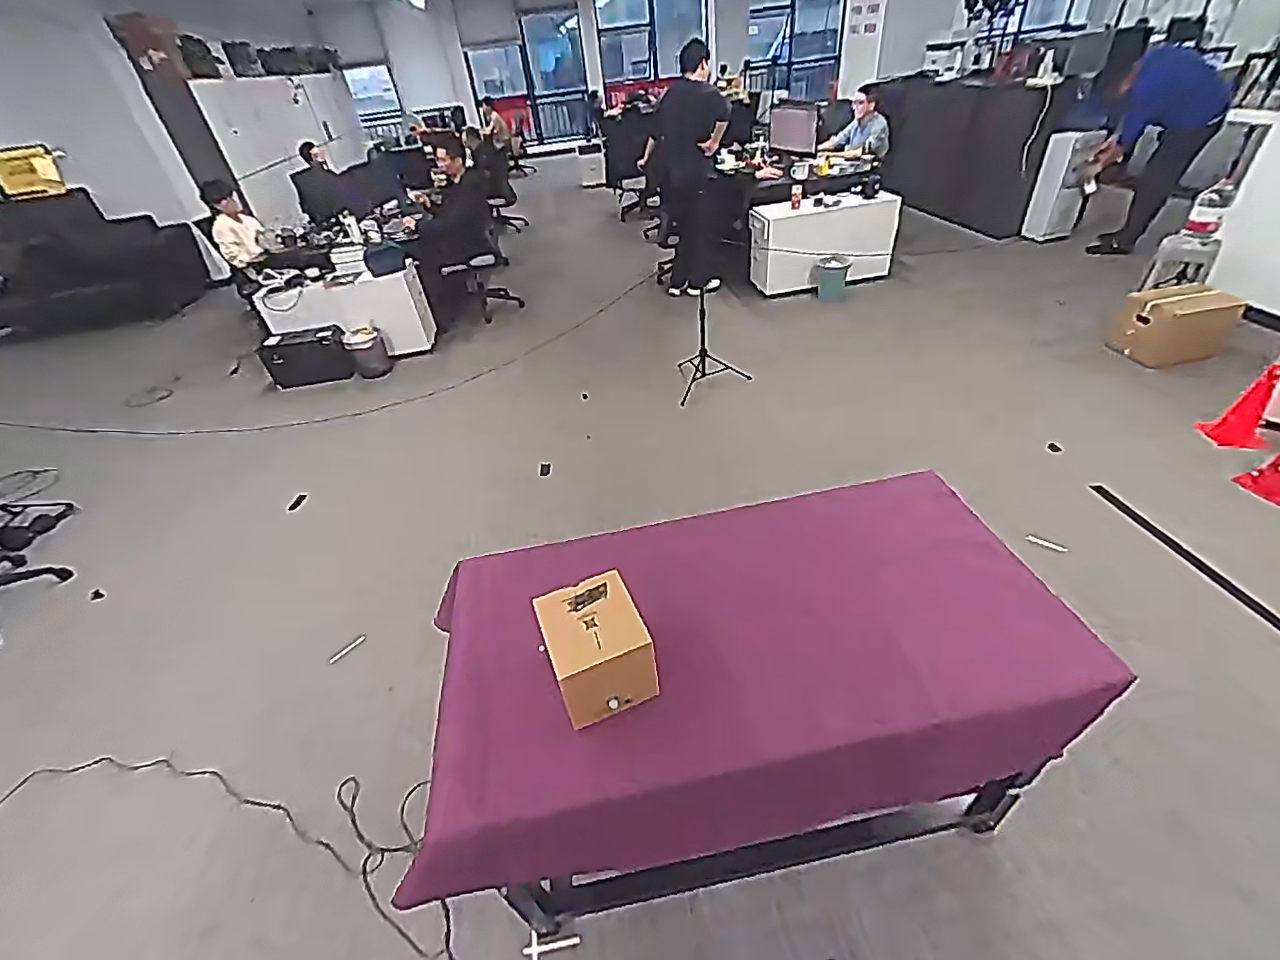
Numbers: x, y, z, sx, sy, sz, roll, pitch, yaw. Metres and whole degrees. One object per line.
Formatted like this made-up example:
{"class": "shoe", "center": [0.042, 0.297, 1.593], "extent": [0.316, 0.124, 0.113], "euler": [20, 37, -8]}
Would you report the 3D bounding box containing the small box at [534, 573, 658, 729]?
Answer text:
{"class": "small box", "center": [-0.078, 0.306, 0.974], "extent": [0.168, 0.176, 0.179], "euler": [-19, 41, -14]}
